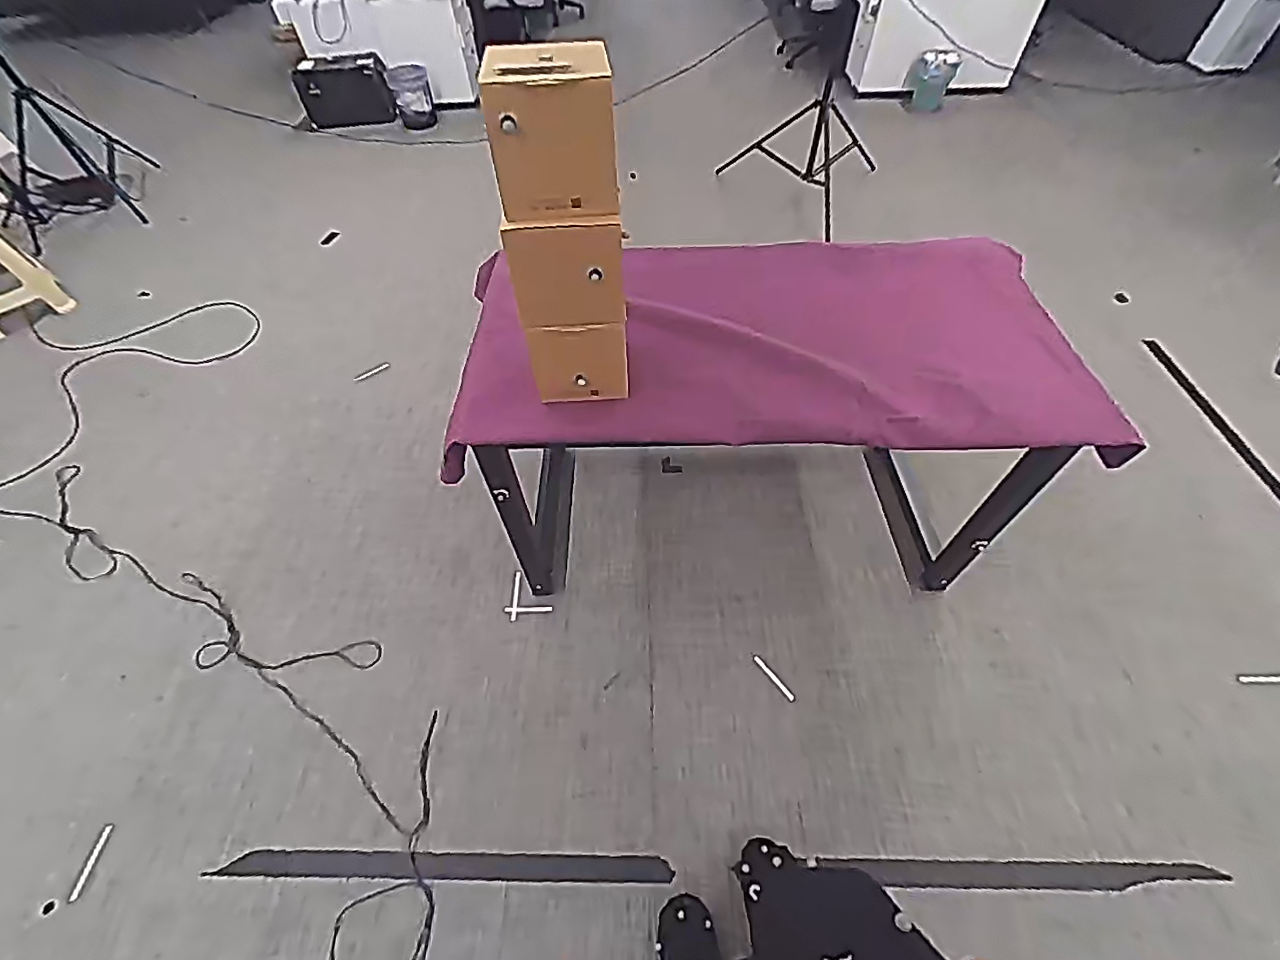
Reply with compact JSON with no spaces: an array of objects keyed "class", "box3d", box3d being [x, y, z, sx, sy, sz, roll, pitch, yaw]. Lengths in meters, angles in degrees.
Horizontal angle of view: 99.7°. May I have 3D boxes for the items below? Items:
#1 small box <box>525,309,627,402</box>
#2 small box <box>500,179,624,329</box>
[{"class":"small box","box3d":[-0.112,-0.267,1.014,0.168,0.176,0.179,-3,53,0]},{"class":"small box","box3d":[-0.117,-0.366,0.885,0.179,0.176,0.168,-4,51,-1]}]
